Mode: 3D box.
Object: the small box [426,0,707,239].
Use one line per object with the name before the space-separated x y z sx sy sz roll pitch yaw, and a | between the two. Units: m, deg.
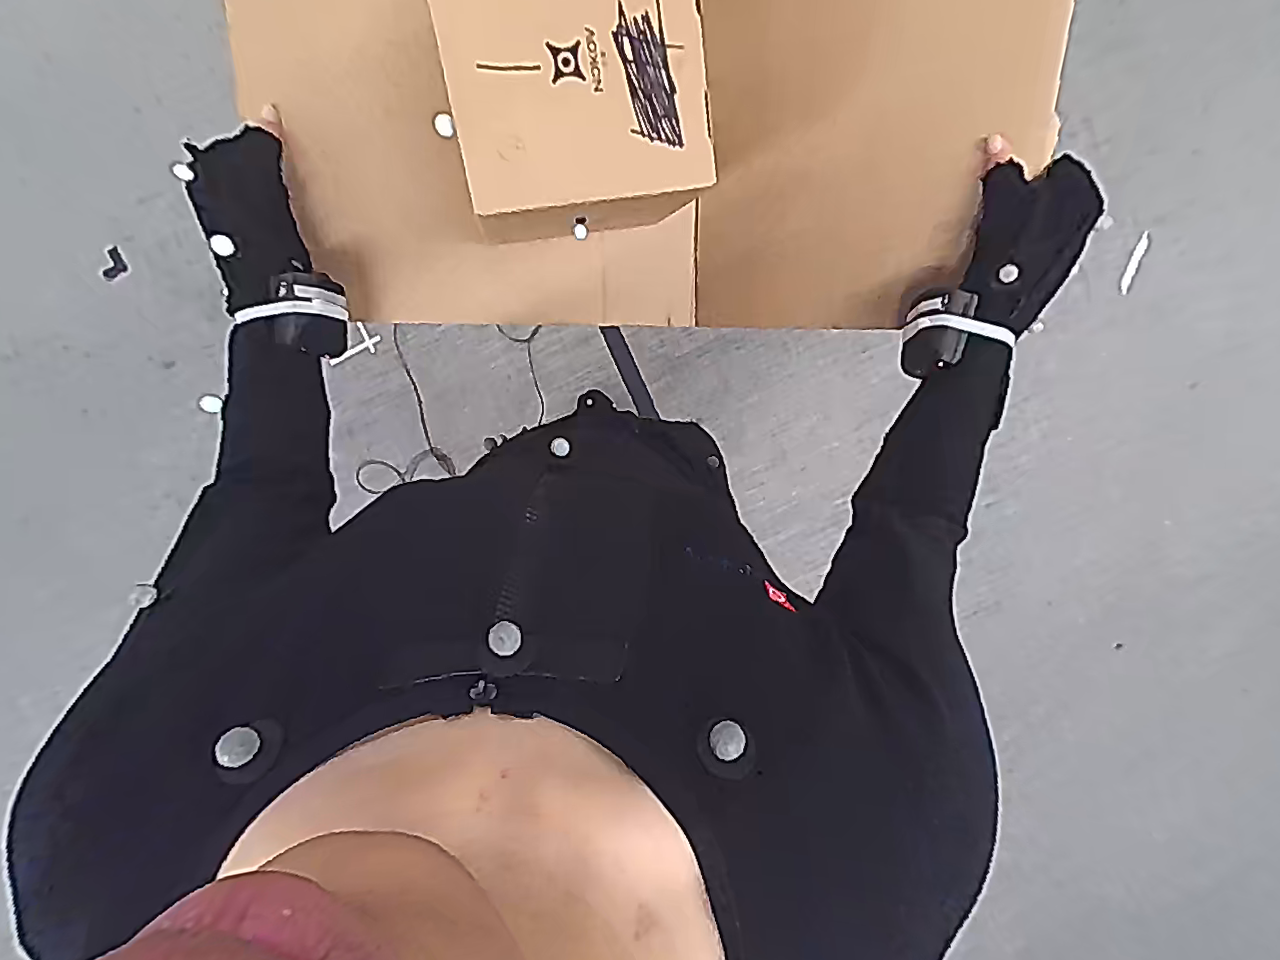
small box | -0.062 -0.302 0.437 0.179 0.176 0.168 -12 109 -9
